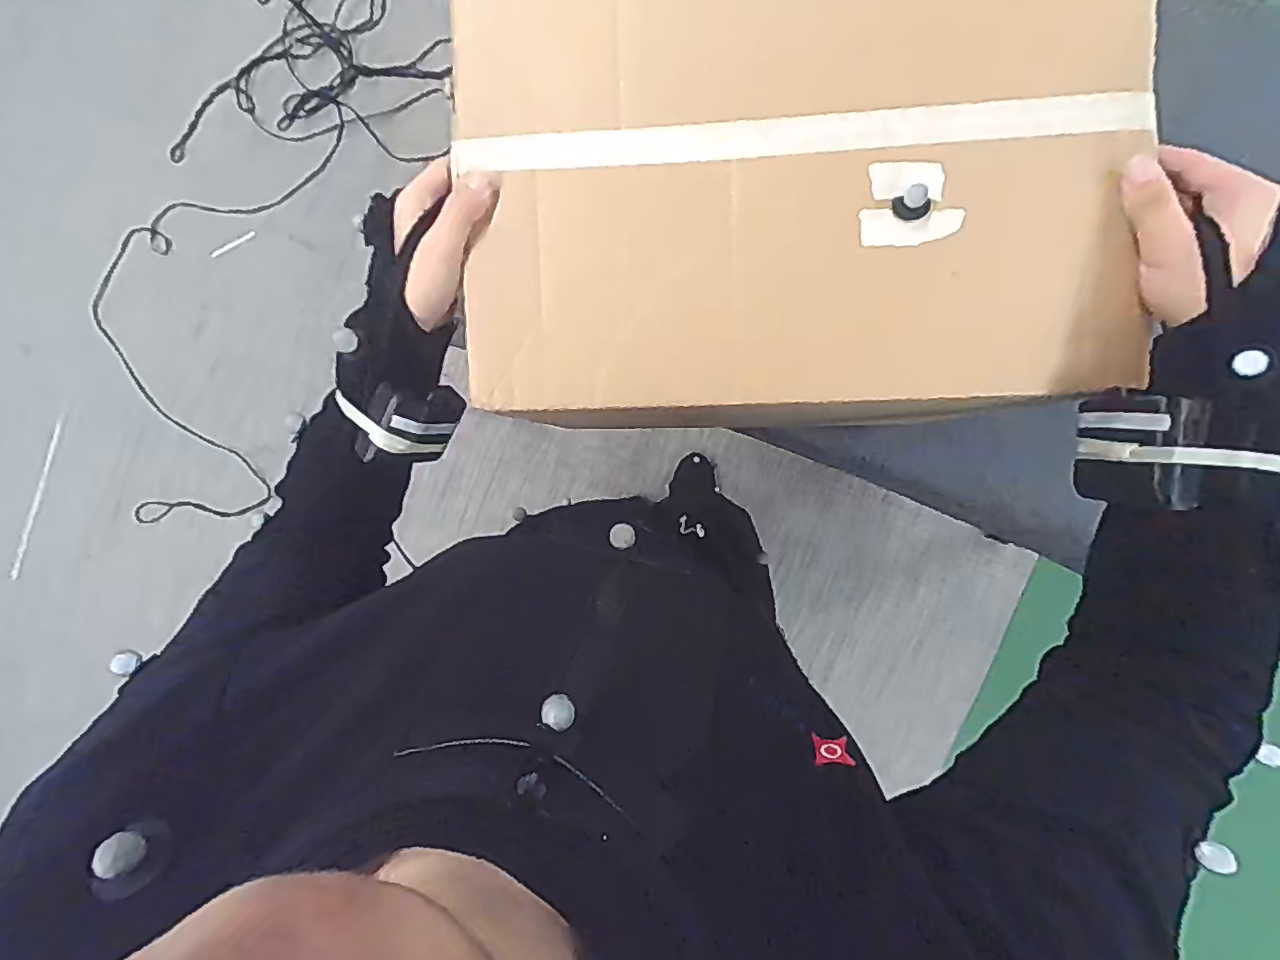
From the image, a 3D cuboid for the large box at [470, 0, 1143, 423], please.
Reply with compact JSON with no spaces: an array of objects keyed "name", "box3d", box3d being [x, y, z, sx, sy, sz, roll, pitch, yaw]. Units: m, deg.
[{"name":"large box","box3d":[0.101,-0.220,0.479,0.408,0.320,0.320,-2,94,3]}]
